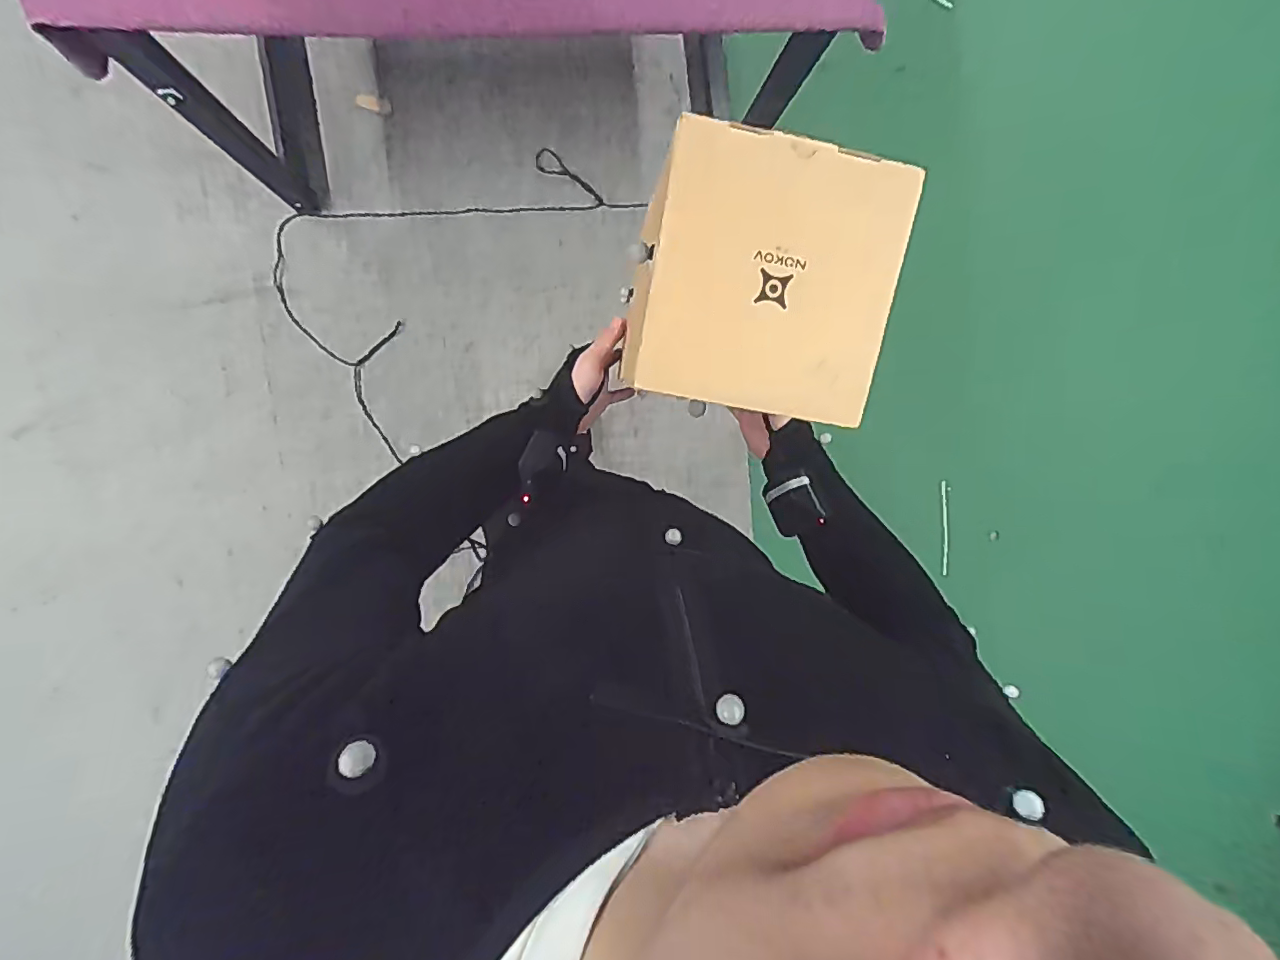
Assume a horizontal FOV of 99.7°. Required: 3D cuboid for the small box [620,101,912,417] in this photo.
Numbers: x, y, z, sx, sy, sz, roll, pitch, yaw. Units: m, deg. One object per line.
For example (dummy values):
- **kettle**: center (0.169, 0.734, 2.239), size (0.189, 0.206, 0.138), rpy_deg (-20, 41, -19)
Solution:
- **small box**: center (0.079, -0.157, 0.439), size (0.168, 0.176, 0.179), rpy_deg (9, 101, -5)
